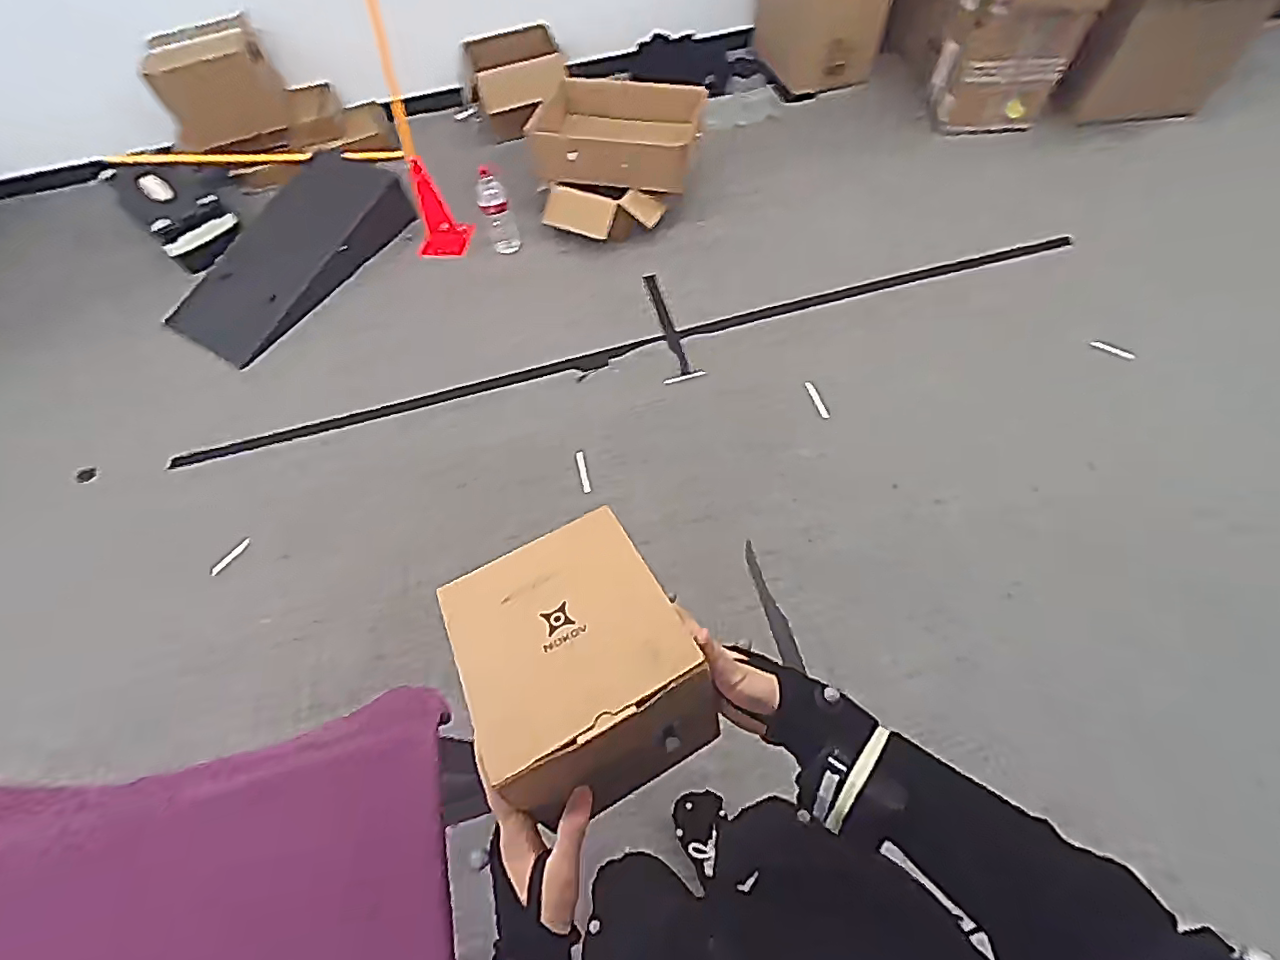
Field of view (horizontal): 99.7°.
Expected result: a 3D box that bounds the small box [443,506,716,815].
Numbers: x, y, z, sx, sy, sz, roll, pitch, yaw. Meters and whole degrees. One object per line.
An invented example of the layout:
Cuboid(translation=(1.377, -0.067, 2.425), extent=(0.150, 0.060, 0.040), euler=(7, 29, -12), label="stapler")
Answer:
Cuboid(translation=(-0.045, 0.162, 0.474), extent=(0.168, 0.176, 0.179), euler=(-26, 48, -12), label="small box")
